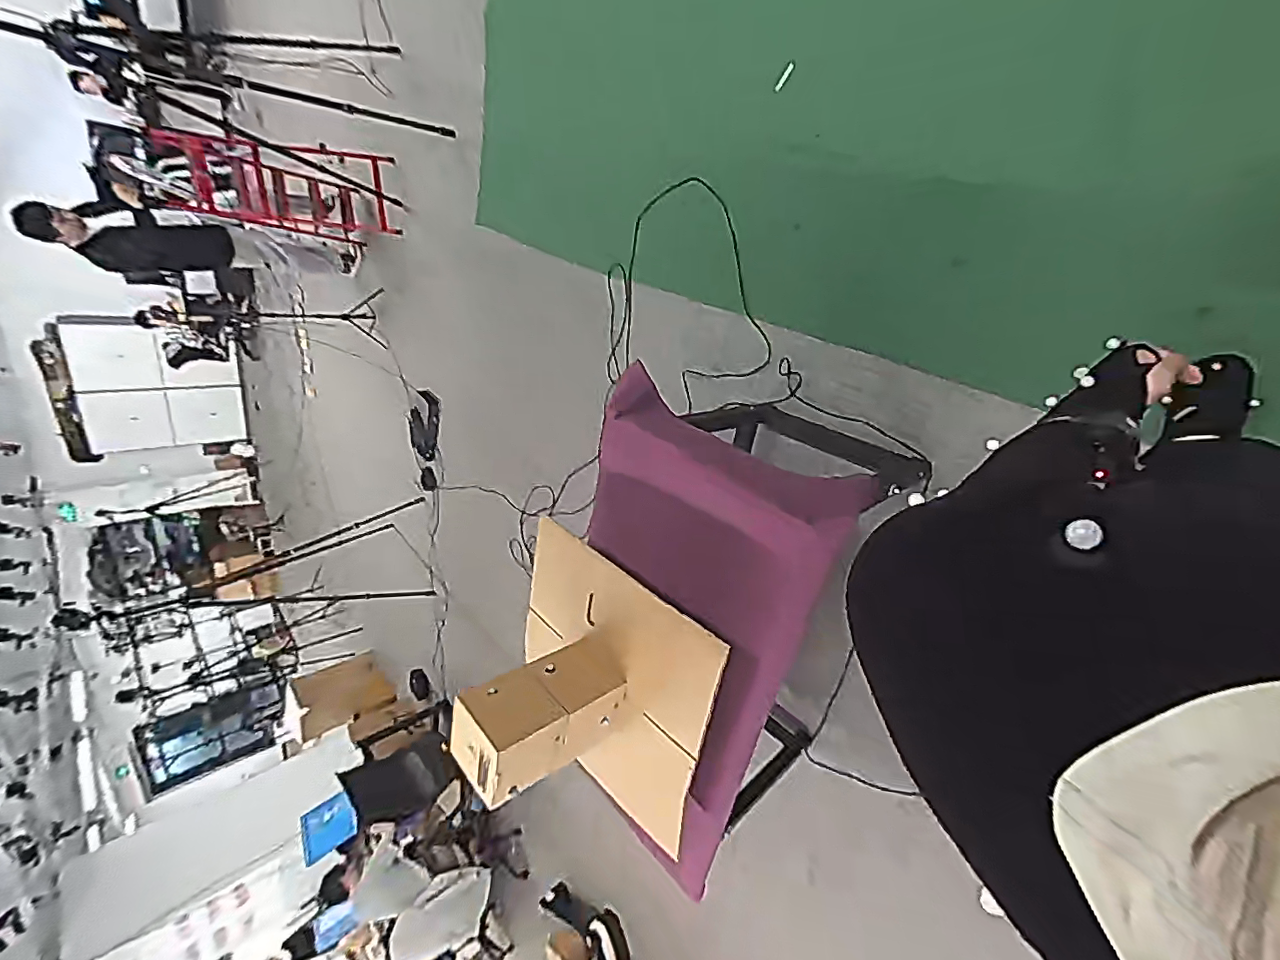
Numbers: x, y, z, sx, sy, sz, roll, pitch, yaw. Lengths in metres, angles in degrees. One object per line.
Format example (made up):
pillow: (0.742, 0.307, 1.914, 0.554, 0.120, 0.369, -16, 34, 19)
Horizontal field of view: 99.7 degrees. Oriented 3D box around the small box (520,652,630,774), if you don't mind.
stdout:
small box: (-0.152, 0.525, 1.254, 0.179, 0.176, 0.168, 29, 118, 37)
